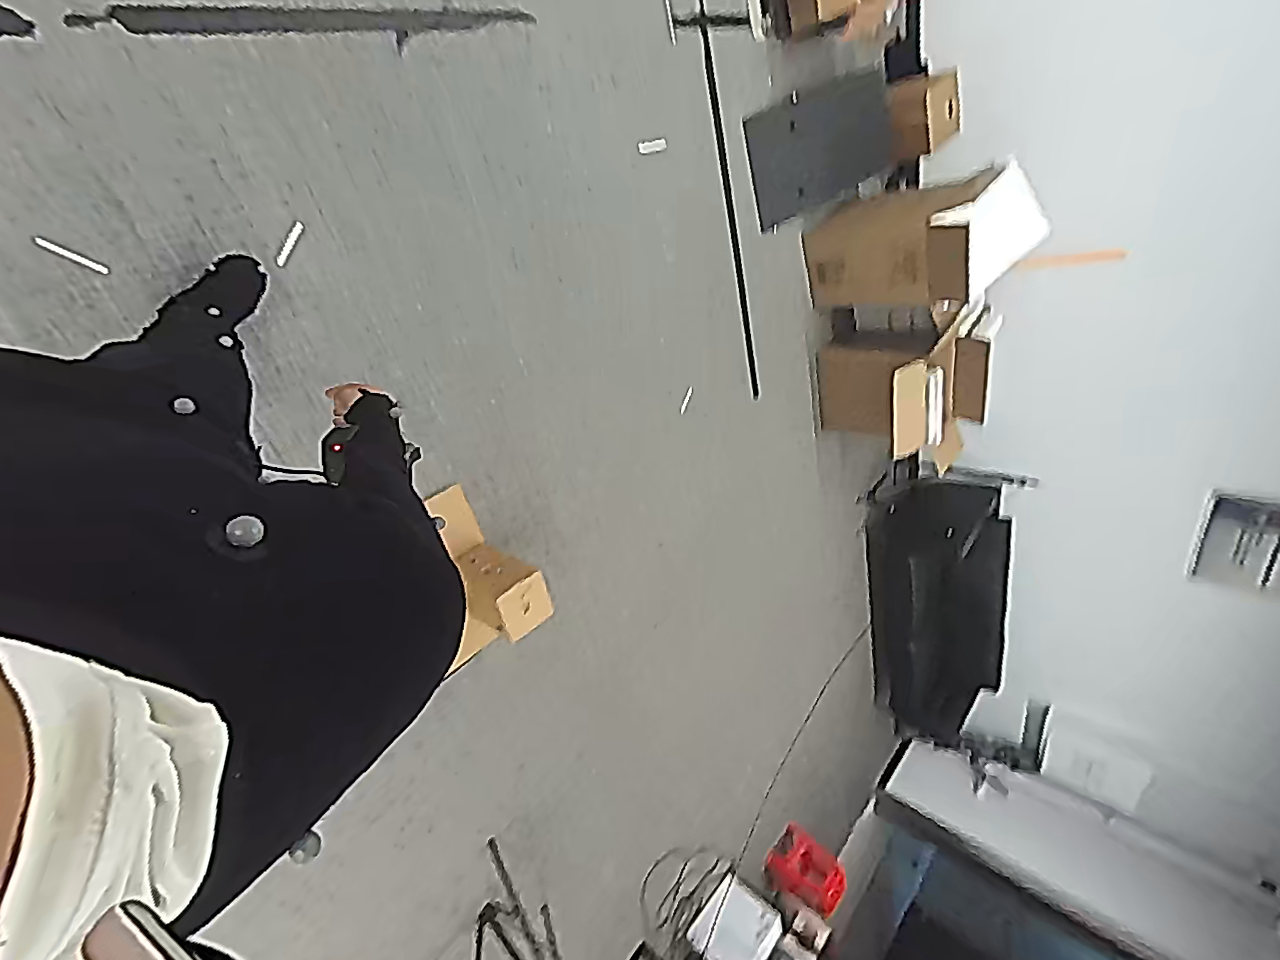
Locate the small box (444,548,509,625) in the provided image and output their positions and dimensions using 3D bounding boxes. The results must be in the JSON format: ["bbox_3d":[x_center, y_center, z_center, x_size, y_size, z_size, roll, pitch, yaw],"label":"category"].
[{"bbox_3d":[-0.523,0.344,1.797,0.168,0.176,0.179,-33,122,-35],"label":"small box"}]

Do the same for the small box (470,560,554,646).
[{"bbox_3d":[-0.400,0.377,1.691,0.168,0.176,0.179,-32,122,-36],"label":"small box"}]
